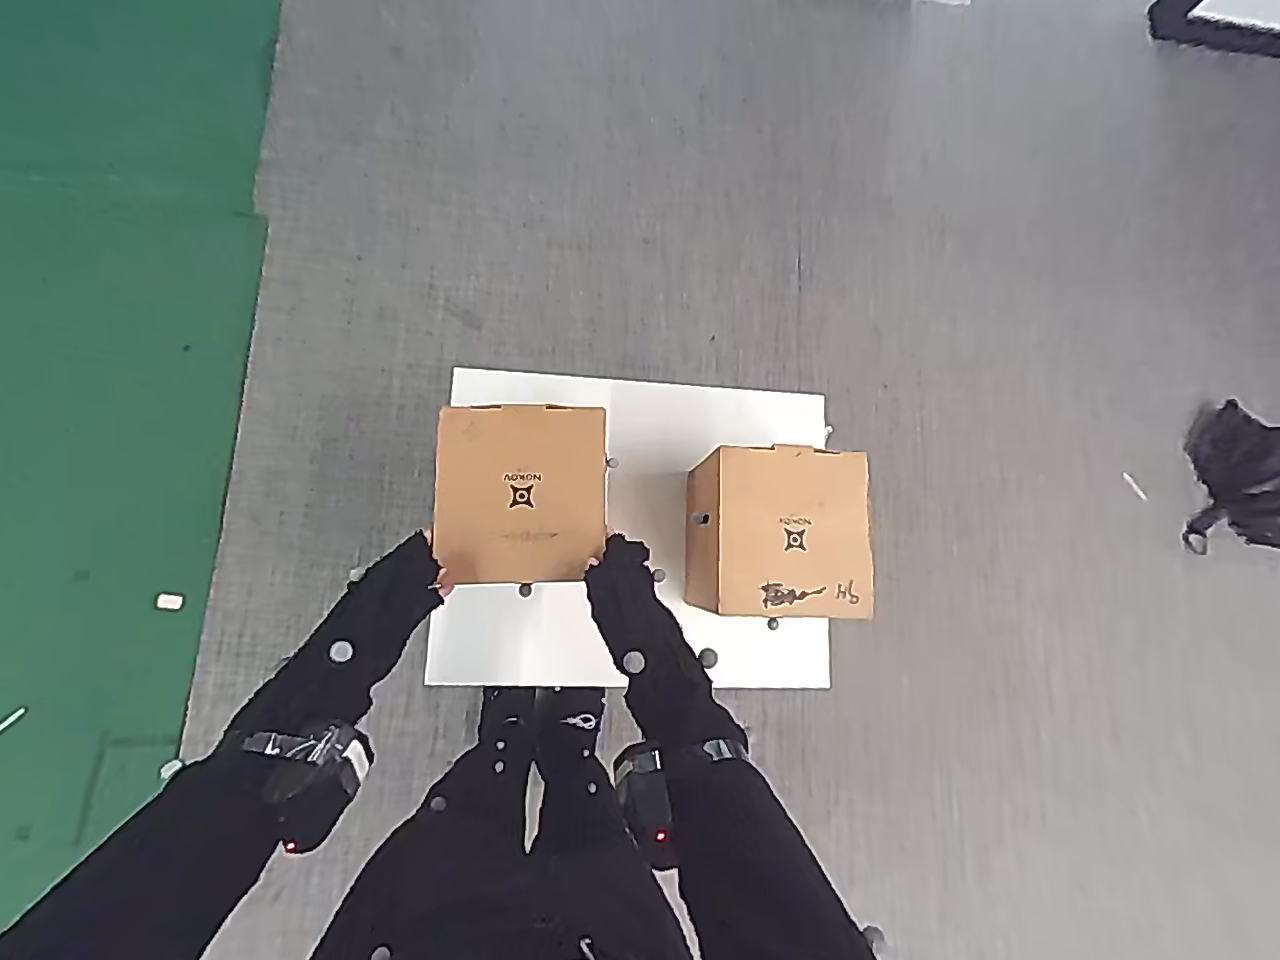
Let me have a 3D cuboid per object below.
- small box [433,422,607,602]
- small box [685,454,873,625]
[{"bbox_3d":[-0.123,0.042,0.608,0.168,0.176,0.179,-2,81,-4],"label":"small box"},{"bbox_3d":[0.148,0.076,0.636,0.168,0.176,0.179,2,79,-7],"label":"small box"}]
